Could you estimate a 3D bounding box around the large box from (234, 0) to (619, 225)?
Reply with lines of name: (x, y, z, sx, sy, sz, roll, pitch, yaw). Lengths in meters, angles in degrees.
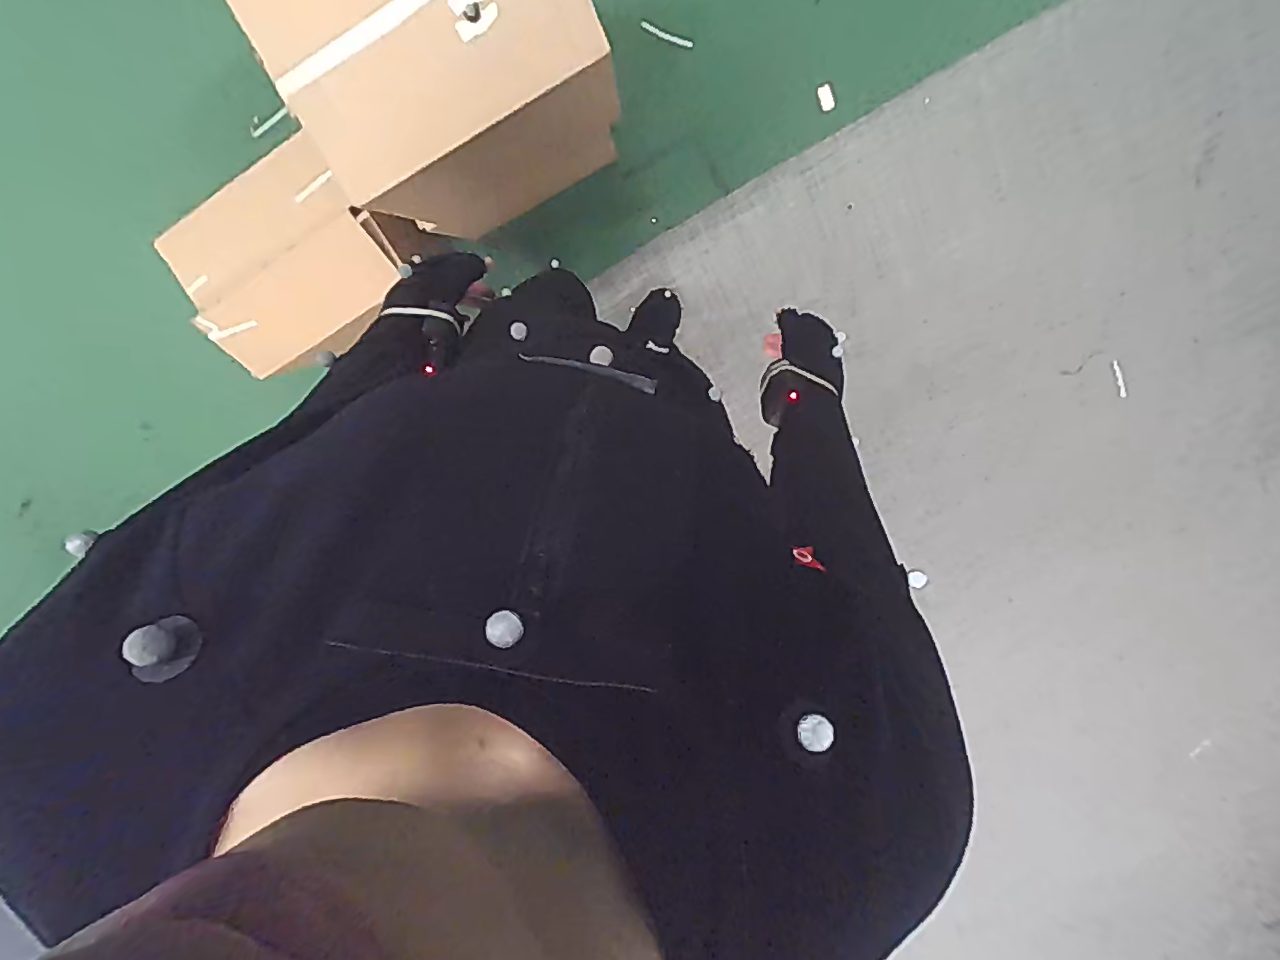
large box: (-0.277, -0.638, 0.805, 0.408, 0.320, 0.320, -25, 109, 9)
